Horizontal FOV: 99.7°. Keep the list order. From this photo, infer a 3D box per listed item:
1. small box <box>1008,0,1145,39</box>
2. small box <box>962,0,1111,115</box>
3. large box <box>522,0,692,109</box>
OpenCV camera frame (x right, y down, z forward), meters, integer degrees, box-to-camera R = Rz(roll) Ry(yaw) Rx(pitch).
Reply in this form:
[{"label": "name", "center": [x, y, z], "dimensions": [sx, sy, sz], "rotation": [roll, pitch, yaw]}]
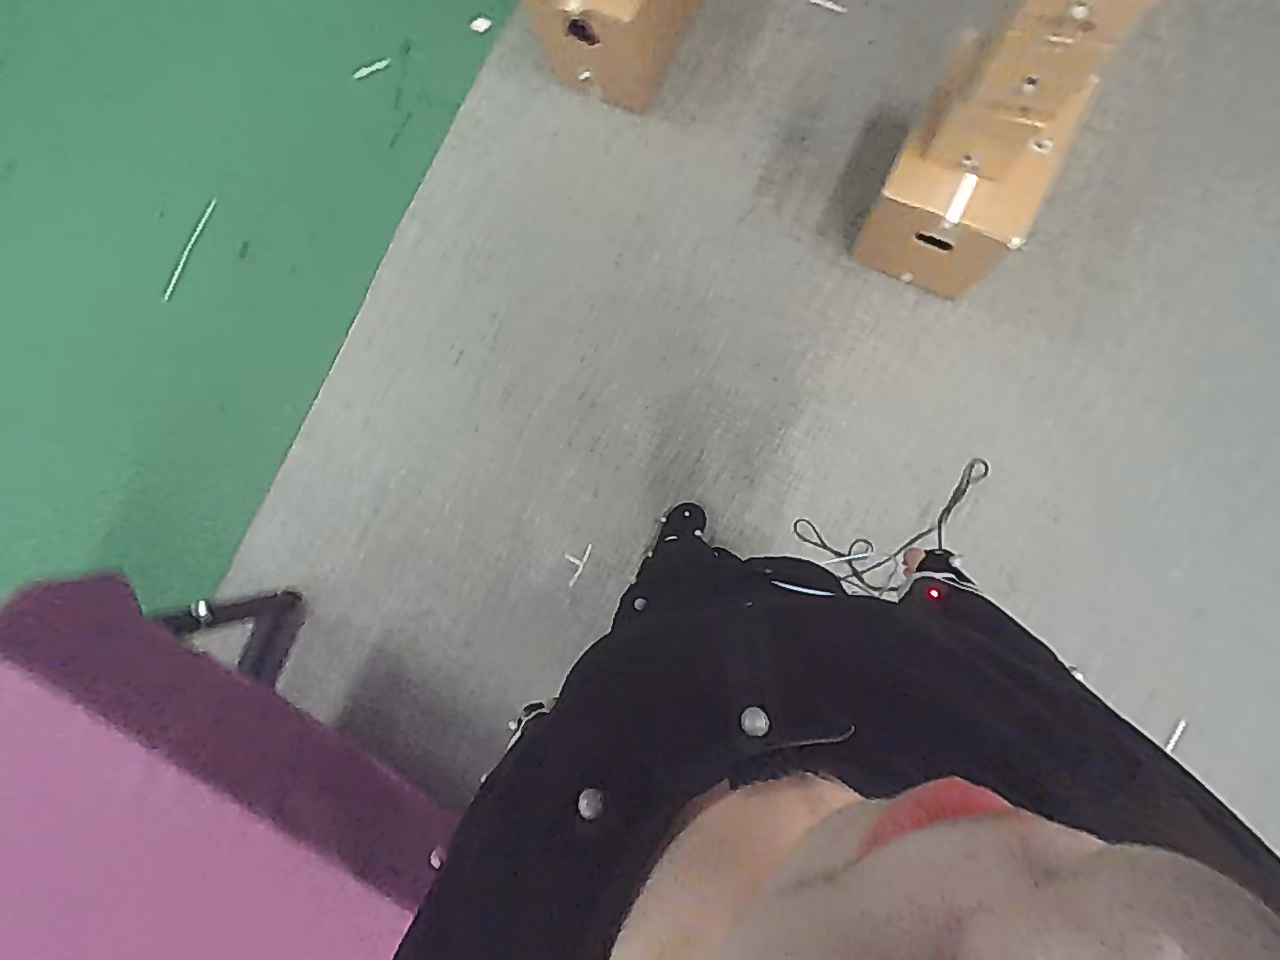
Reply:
[{"label": "small box", "center": [0.657, -0.779, 0.757], "dimensions": [0.168, 0.176, 0.179], "rotation": [16, 90, 10]}, {"label": "small box", "center": [0.681, -0.769, 0.920], "dimensions": [0.168, 0.176, 0.179], "rotation": [17, 90, 9]}, {"label": "large box", "center": [-0.070, -1.325, 1.456], "dimensions": [0.320, 0.320, 0.408], "rotation": [26, 90, 8]}]
